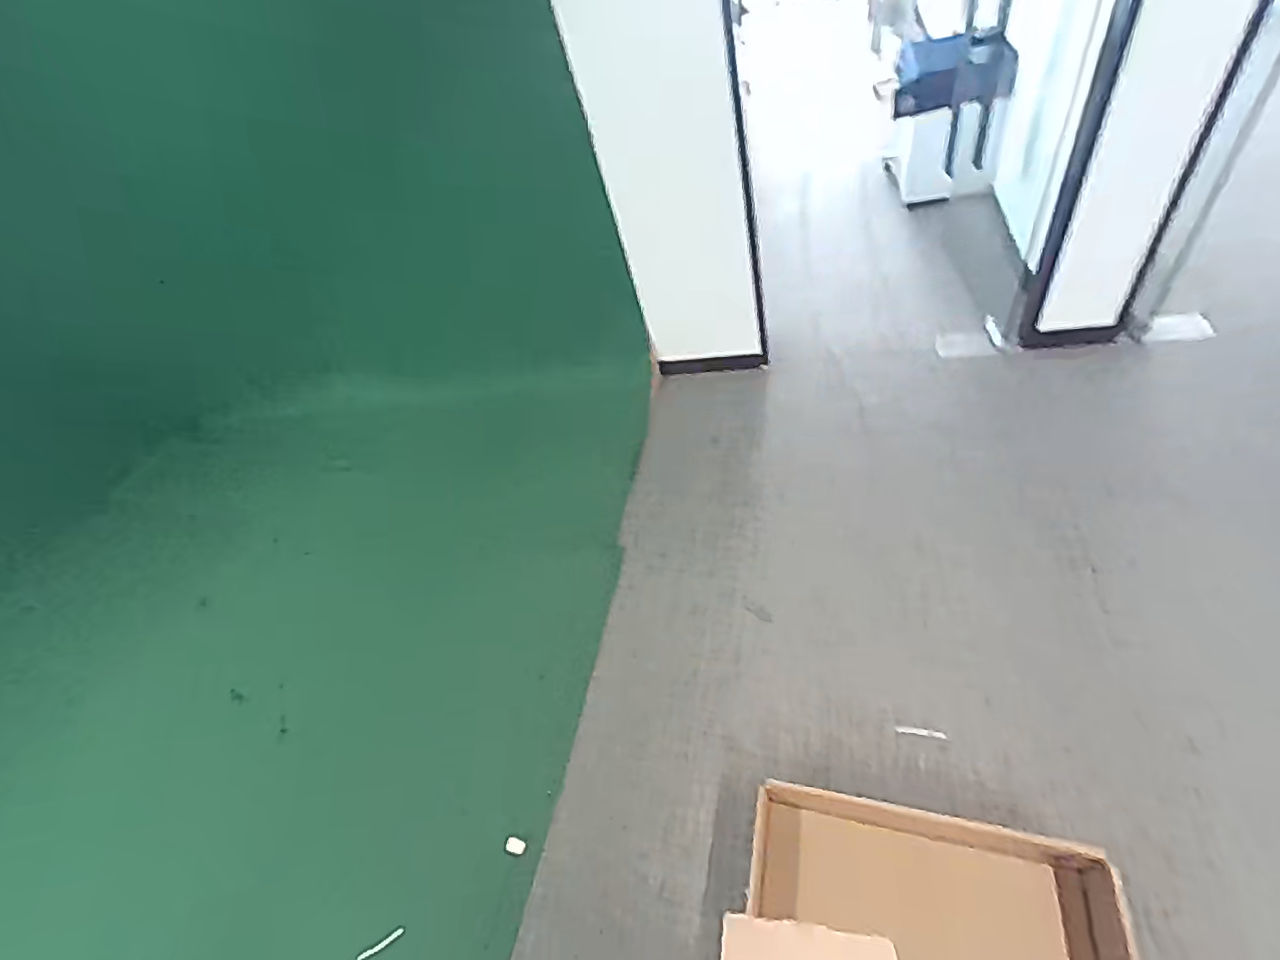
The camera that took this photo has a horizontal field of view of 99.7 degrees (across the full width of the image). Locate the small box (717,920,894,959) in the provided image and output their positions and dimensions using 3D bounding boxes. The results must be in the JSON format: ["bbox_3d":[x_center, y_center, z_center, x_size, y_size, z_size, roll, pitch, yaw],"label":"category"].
[{"bbox_3d":[0.149,0.537,0.461,0.168,0.179,0.176,-2,93,12],"label":"small box"}]
